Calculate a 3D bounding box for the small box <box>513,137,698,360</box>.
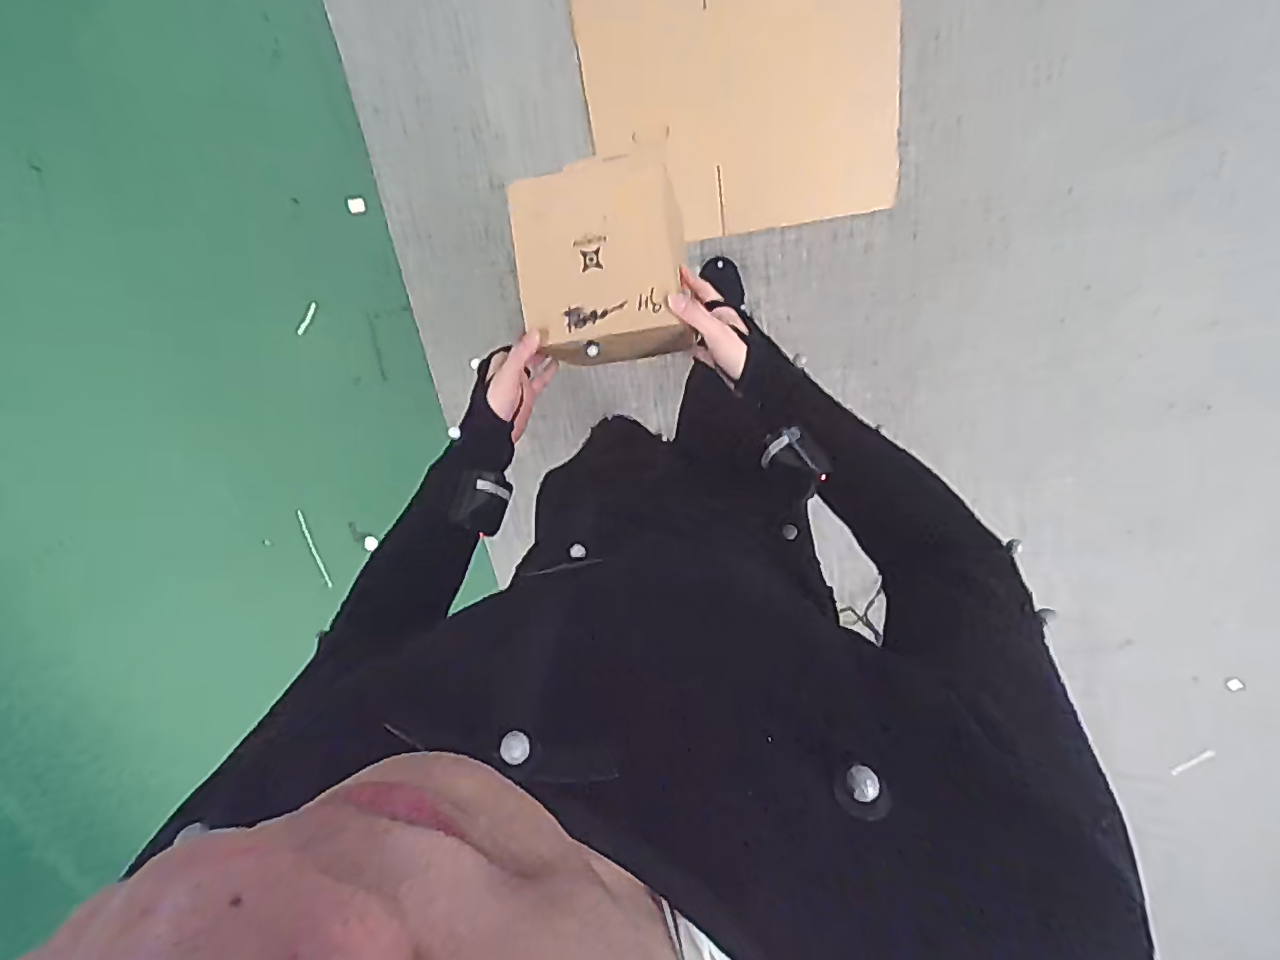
[{"bbox_3d":[-0.028,-0.247,0.623,0.168,0.176,0.179,-6,93,12],"label":"small box"}]
